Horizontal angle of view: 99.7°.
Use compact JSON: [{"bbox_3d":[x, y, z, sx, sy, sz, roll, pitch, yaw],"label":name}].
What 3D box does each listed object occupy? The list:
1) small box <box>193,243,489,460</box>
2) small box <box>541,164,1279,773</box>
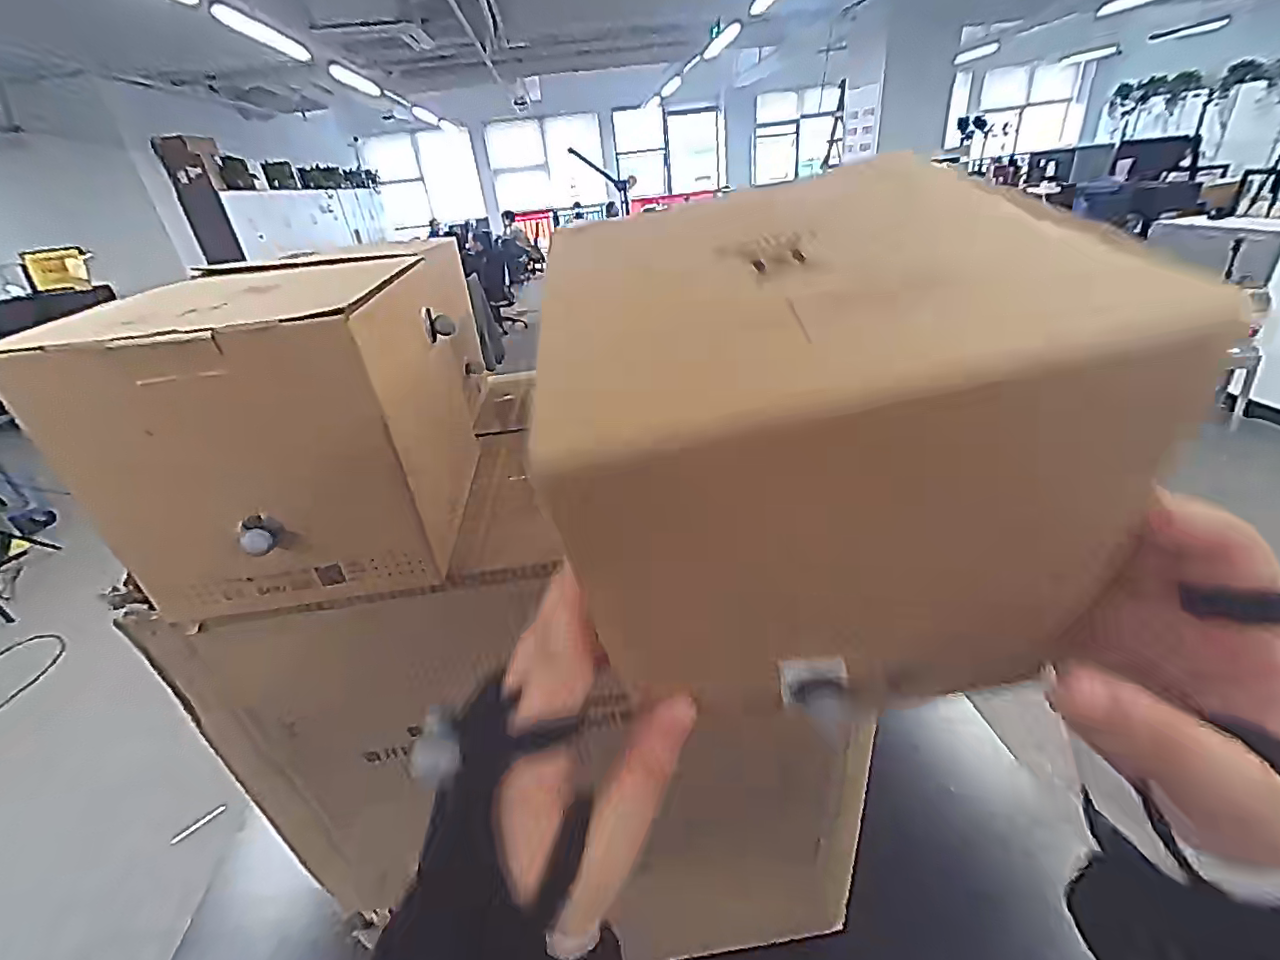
[{"bbox_3d":[-0.263,-0.129,0.528,0.179,0.176,0.168,-7,28,-3],"label":"small box"},{"bbox_3d":[0.063,-0.007,0.232,0.168,0.176,0.179,-13,43,3],"label":"small box"}]
